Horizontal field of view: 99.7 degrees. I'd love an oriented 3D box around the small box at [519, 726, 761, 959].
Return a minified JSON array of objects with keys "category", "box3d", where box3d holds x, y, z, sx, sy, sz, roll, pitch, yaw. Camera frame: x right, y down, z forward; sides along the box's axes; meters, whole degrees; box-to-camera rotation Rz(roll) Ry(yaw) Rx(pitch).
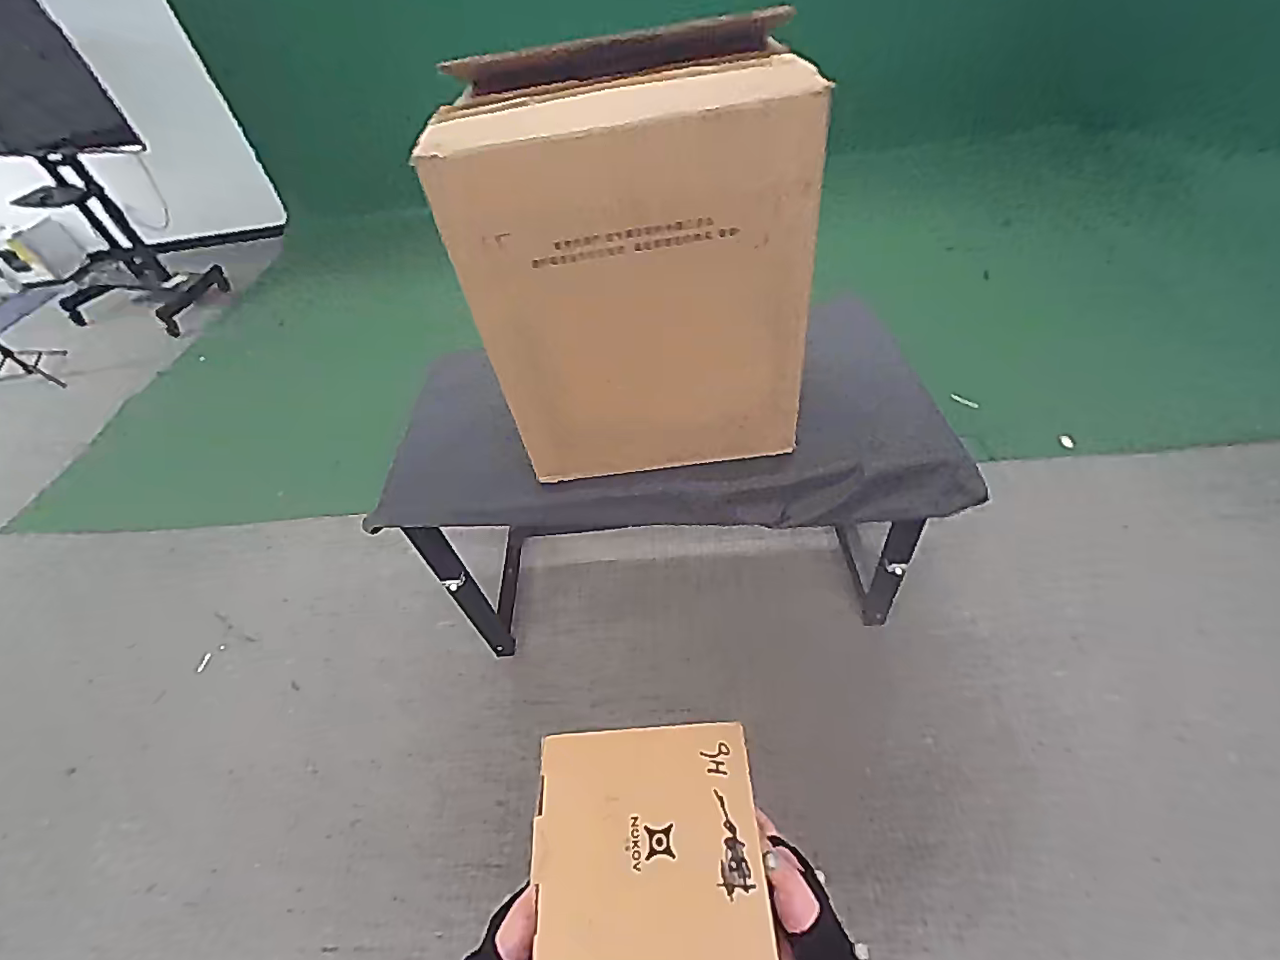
[{"category":"small box","box3d":[0.001,0.332,0.491,0.179,0.176,0.168,-3,55,0]}]
